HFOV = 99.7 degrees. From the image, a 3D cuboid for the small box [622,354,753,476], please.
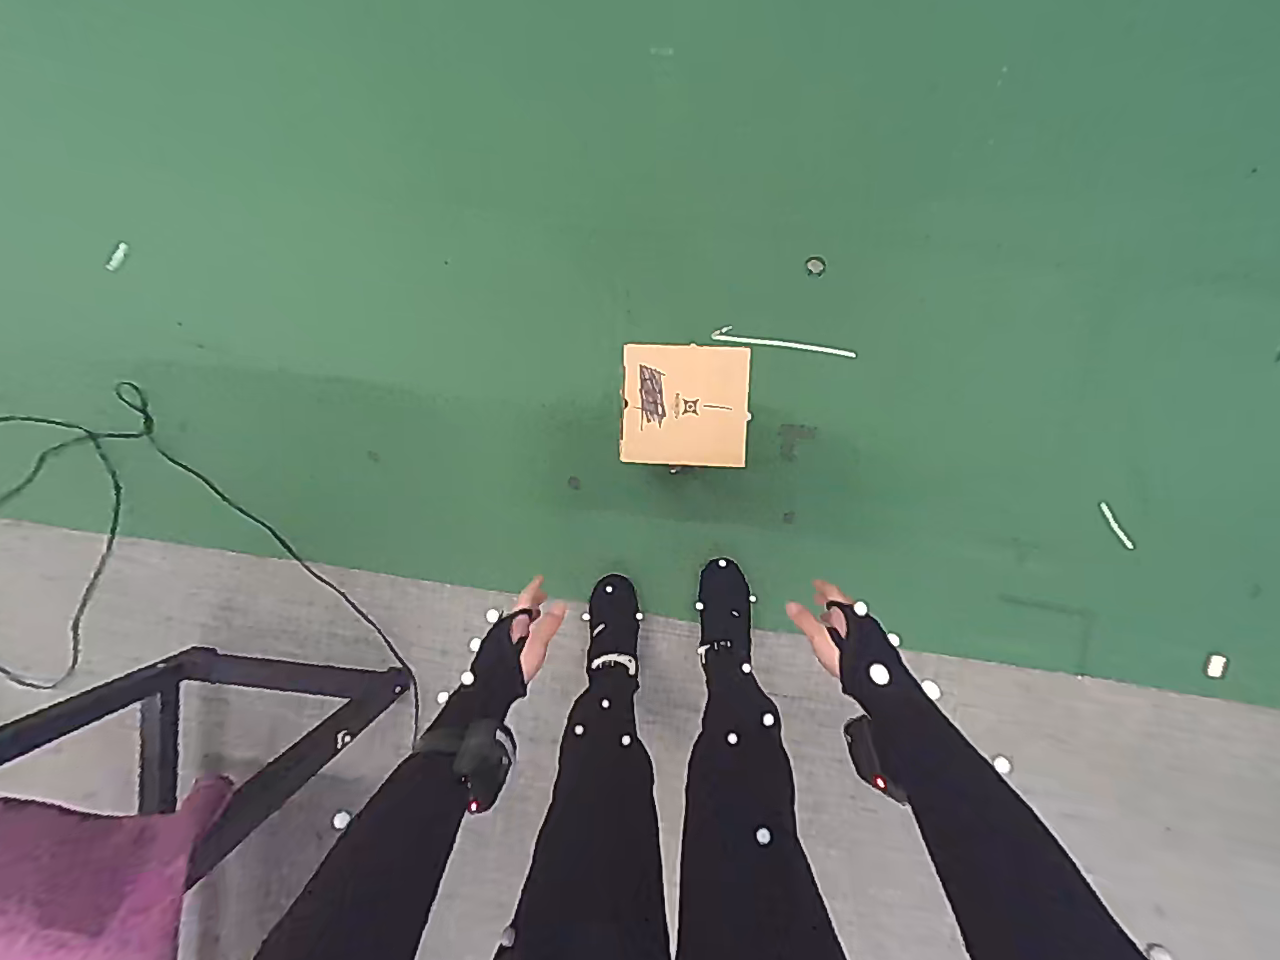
[{"bbox_3d":[0.072,-0.094,0.826,0.179,0.176,0.168,3,94,5],"label":"small box"}]
